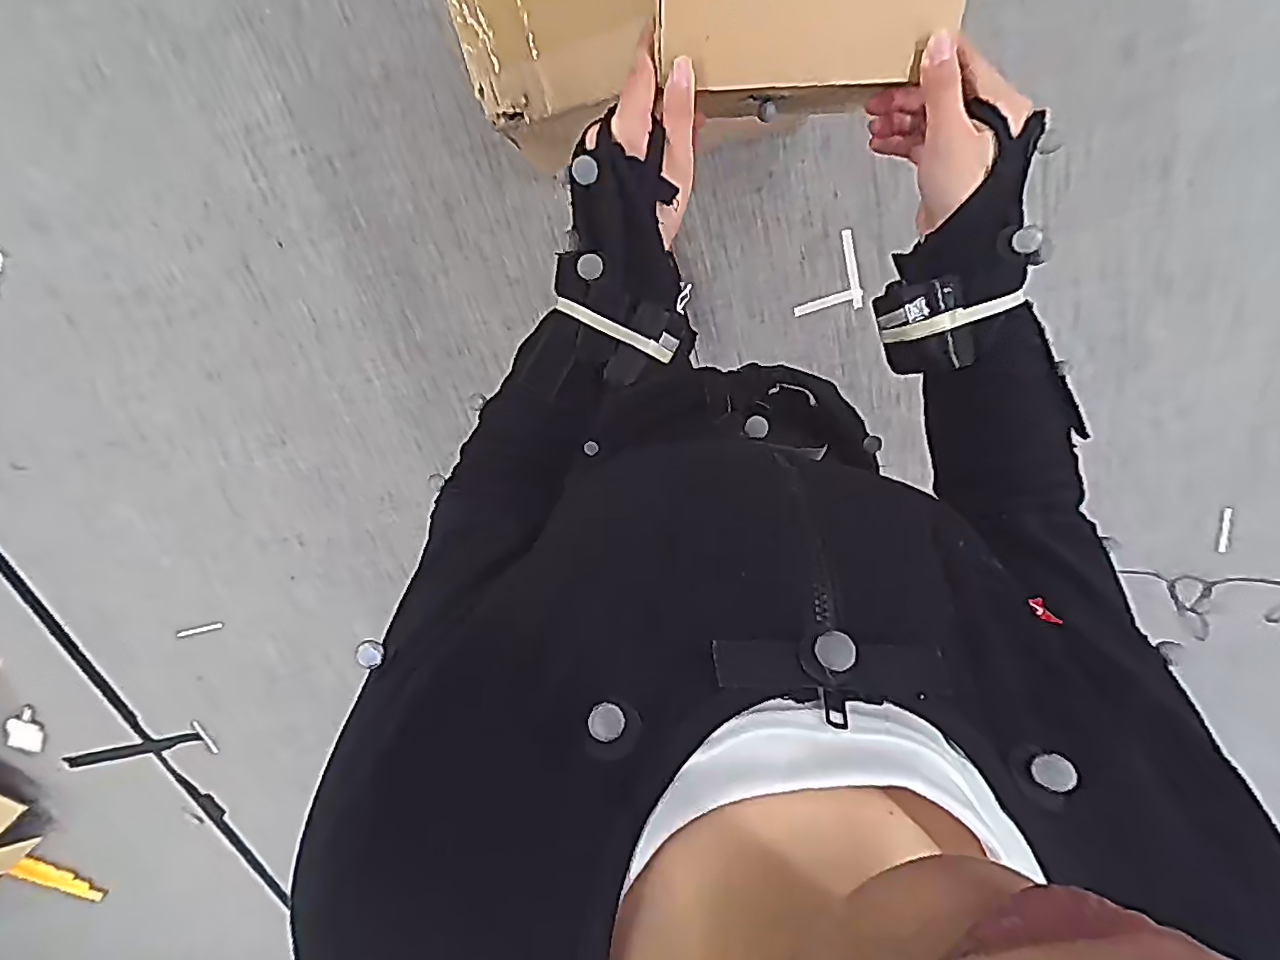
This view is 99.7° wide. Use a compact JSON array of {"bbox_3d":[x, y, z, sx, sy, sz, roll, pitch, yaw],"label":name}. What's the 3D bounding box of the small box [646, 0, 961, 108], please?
[{"bbox_3d":[0.091,-0.352,0.349,0.179,0.176,0.168,-3,119,0],"label":"small box"}]
